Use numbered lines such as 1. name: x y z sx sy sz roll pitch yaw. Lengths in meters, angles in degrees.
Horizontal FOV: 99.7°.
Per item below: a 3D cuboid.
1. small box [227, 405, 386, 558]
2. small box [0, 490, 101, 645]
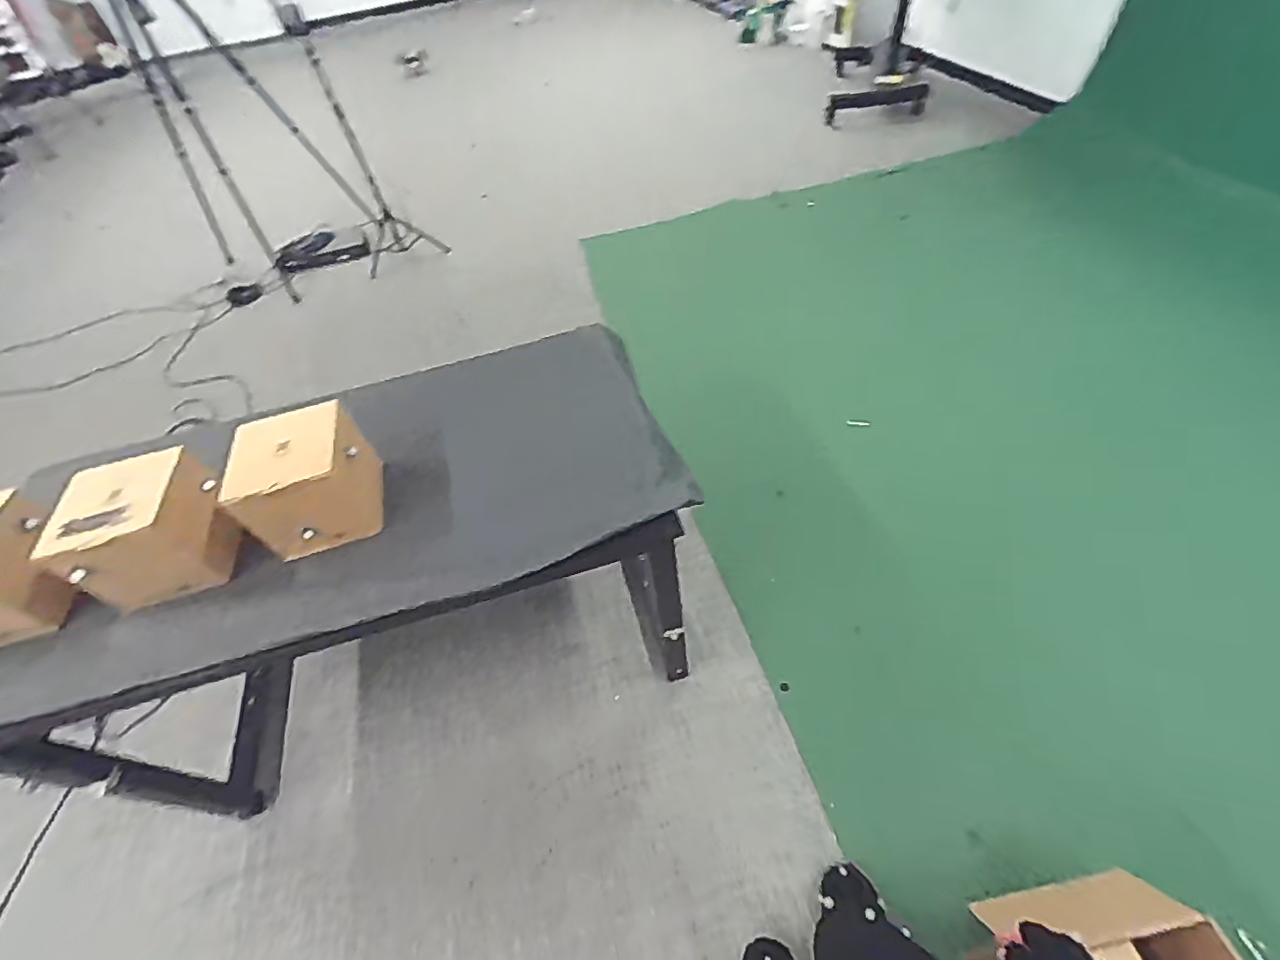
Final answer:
1. small box: -0.554 0.004 0.928 0.168 0.176 0.179 -17 51 -7
2. small box: -1.039 0.147 0.866 0.168 0.176 0.179 -14 49 -4
